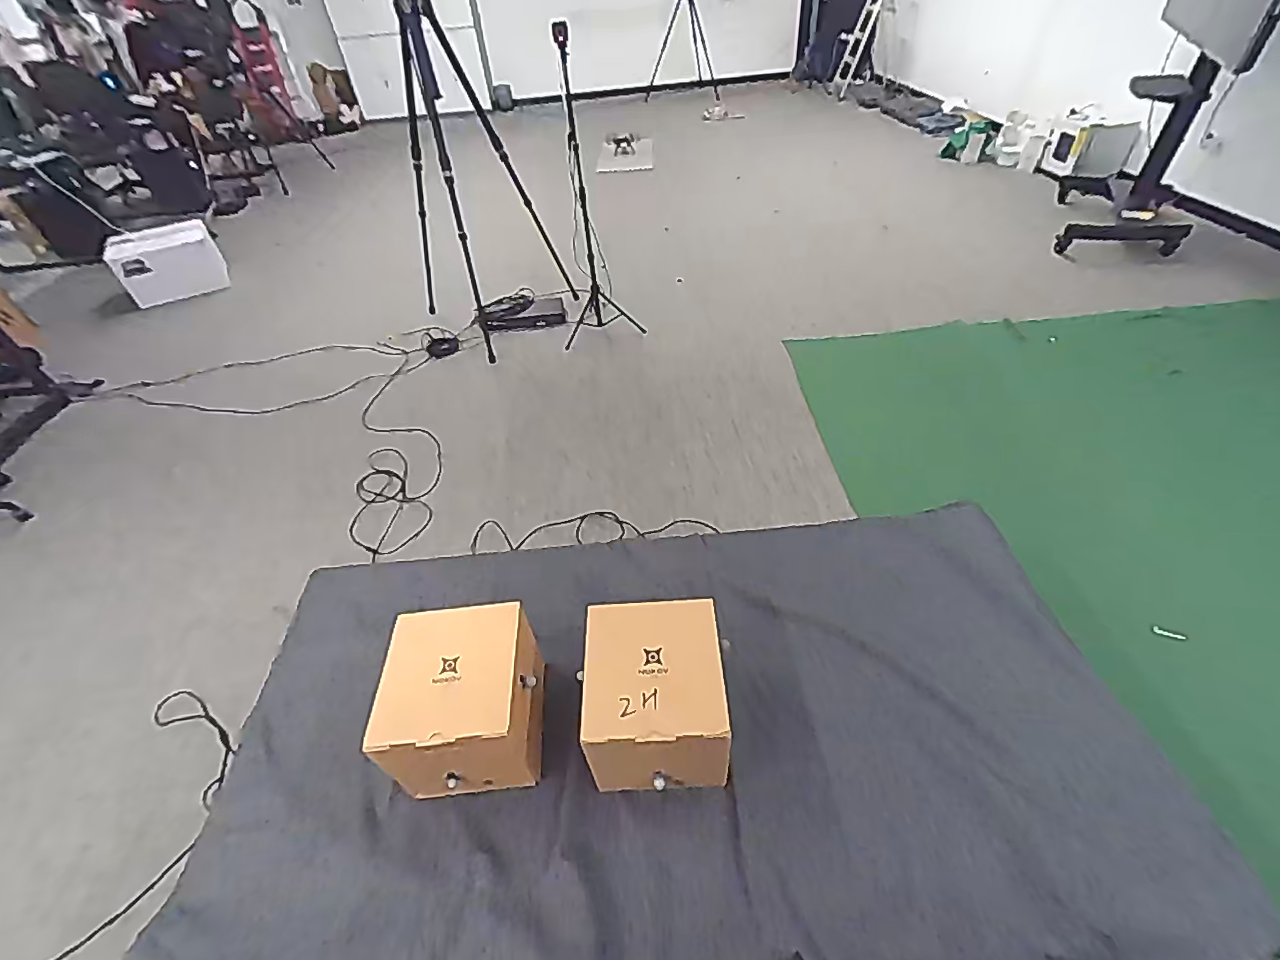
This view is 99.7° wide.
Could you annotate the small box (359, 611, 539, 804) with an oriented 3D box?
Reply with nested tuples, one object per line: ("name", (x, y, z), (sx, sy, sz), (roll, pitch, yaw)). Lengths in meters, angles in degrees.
("small box", (-0.231, 0.298, 0.711), (0.168, 0.176, 0.179), (-6, 44, -1))

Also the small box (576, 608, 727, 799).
("small box", (0.016, 0.286, 0.696), (0.168, 0.176, 0.179), (-3, 44, 2))
